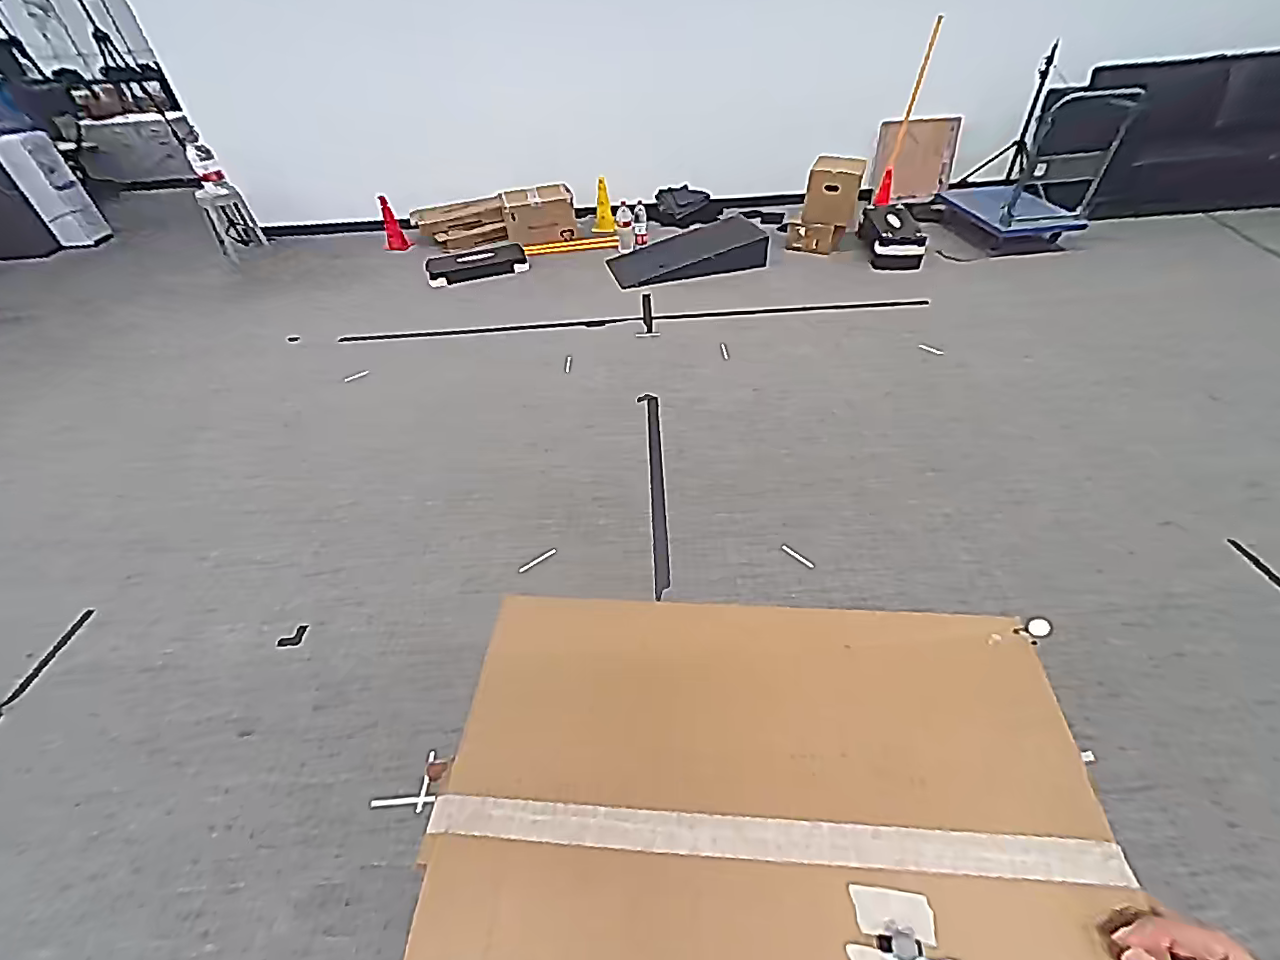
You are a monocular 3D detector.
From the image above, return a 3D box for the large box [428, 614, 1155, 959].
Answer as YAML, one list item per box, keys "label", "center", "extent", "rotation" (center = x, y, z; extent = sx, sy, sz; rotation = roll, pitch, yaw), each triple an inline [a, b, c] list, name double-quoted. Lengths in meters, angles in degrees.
- label: "large box"
  center: [0.086, 0.326, 0.441]
  extent: [0.408, 0.320, 0.320]
  rotation: [1, 49, 4]
